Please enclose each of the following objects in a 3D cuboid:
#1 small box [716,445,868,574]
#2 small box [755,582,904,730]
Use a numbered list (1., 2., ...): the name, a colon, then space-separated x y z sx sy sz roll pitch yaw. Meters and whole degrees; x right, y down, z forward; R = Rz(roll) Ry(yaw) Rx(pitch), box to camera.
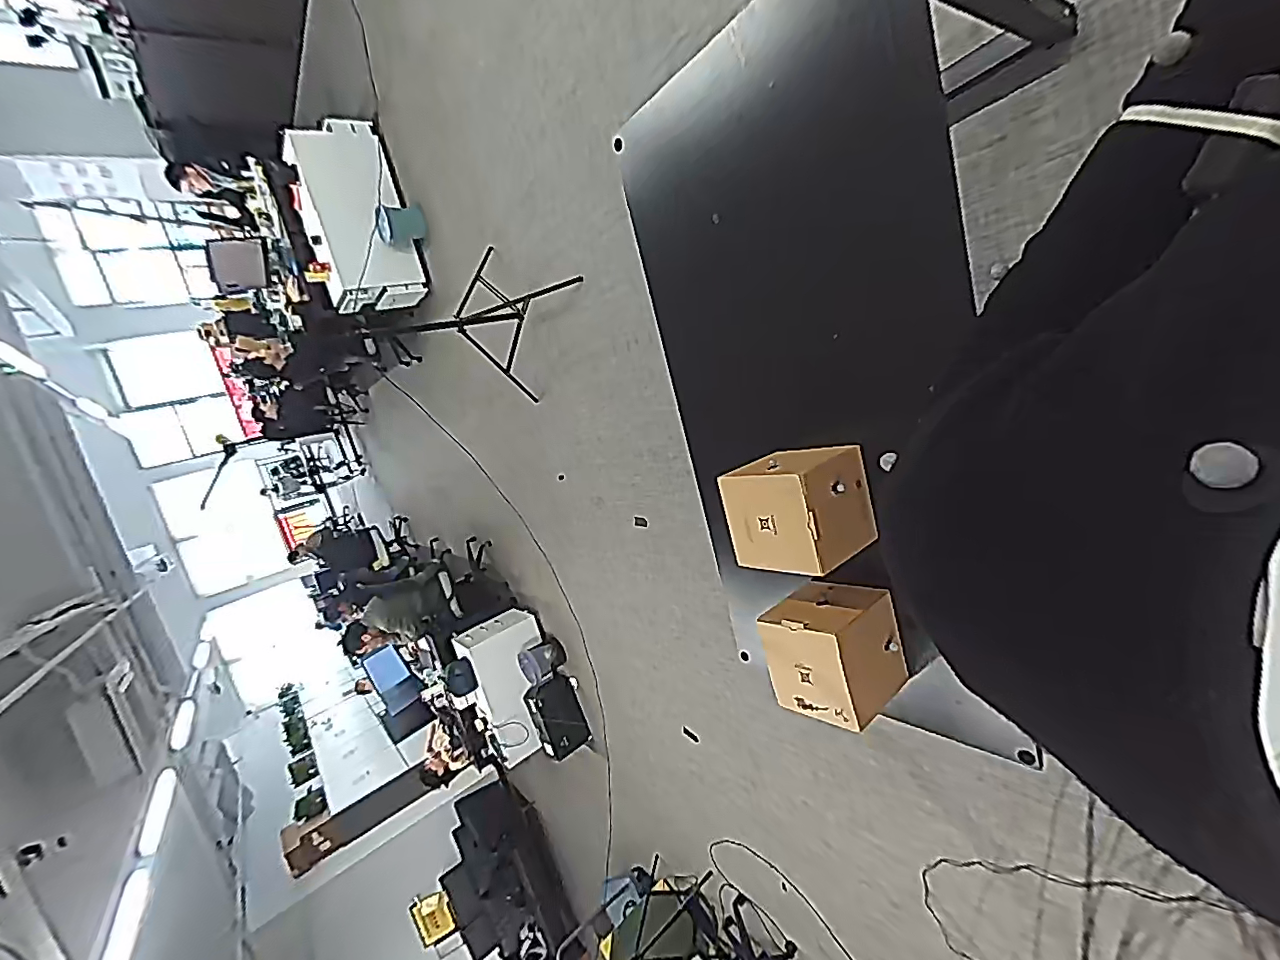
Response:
1. small box: 0.263 0.043 0.915 0.179 0.176 0.168 -3 104 54
2. small box: 0.334 0.294 0.950 0.168 0.176 0.179 -5 103 54
